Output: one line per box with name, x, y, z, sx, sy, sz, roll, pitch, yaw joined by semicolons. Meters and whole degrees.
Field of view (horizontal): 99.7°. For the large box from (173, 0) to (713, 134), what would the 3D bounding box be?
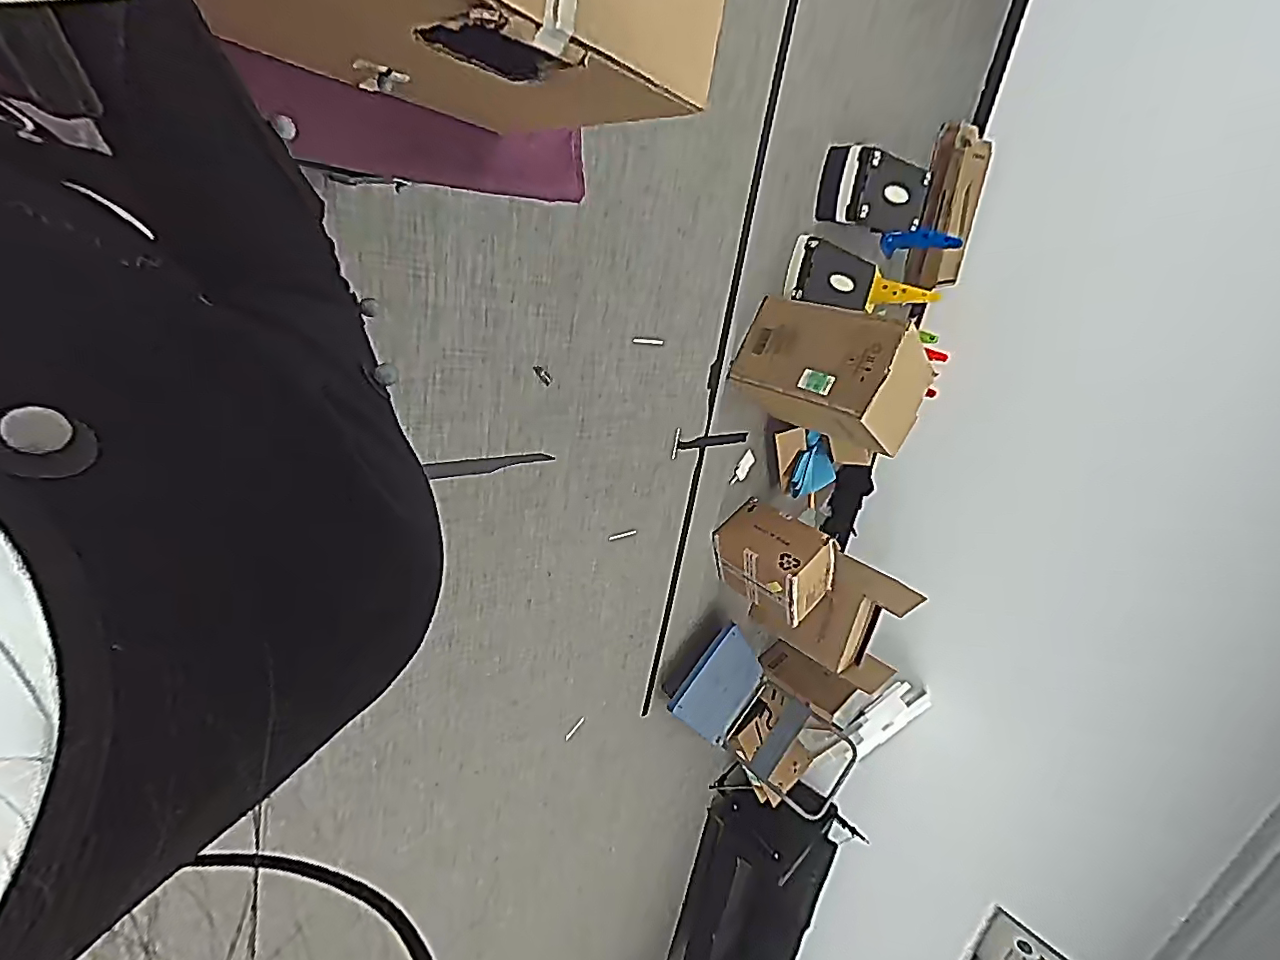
large box;-0.137;-0.516;0.372;0.320;0.320;0.408;-11;118;-44
